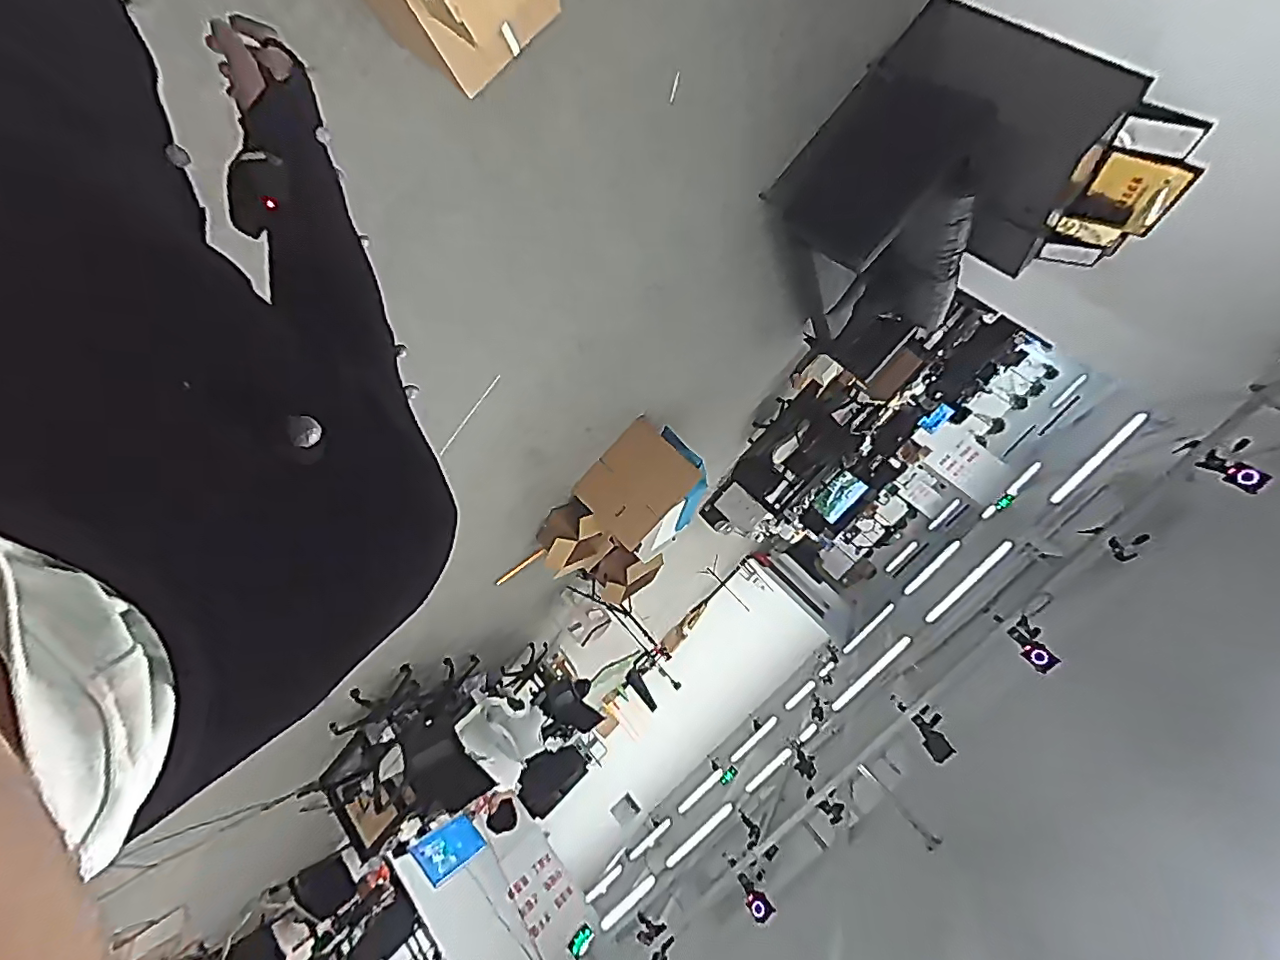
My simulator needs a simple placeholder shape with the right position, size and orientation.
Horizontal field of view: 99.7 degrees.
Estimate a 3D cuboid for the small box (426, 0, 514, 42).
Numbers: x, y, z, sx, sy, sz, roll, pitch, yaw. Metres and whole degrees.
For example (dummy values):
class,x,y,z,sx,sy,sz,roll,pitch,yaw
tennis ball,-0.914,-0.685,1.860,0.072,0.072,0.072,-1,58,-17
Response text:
class,x,y,z,sx,sy,sz,roll,pitch,yaw
small box,-0.333,-0.964,0.977,0.179,0.176,0.168,-45,161,5
